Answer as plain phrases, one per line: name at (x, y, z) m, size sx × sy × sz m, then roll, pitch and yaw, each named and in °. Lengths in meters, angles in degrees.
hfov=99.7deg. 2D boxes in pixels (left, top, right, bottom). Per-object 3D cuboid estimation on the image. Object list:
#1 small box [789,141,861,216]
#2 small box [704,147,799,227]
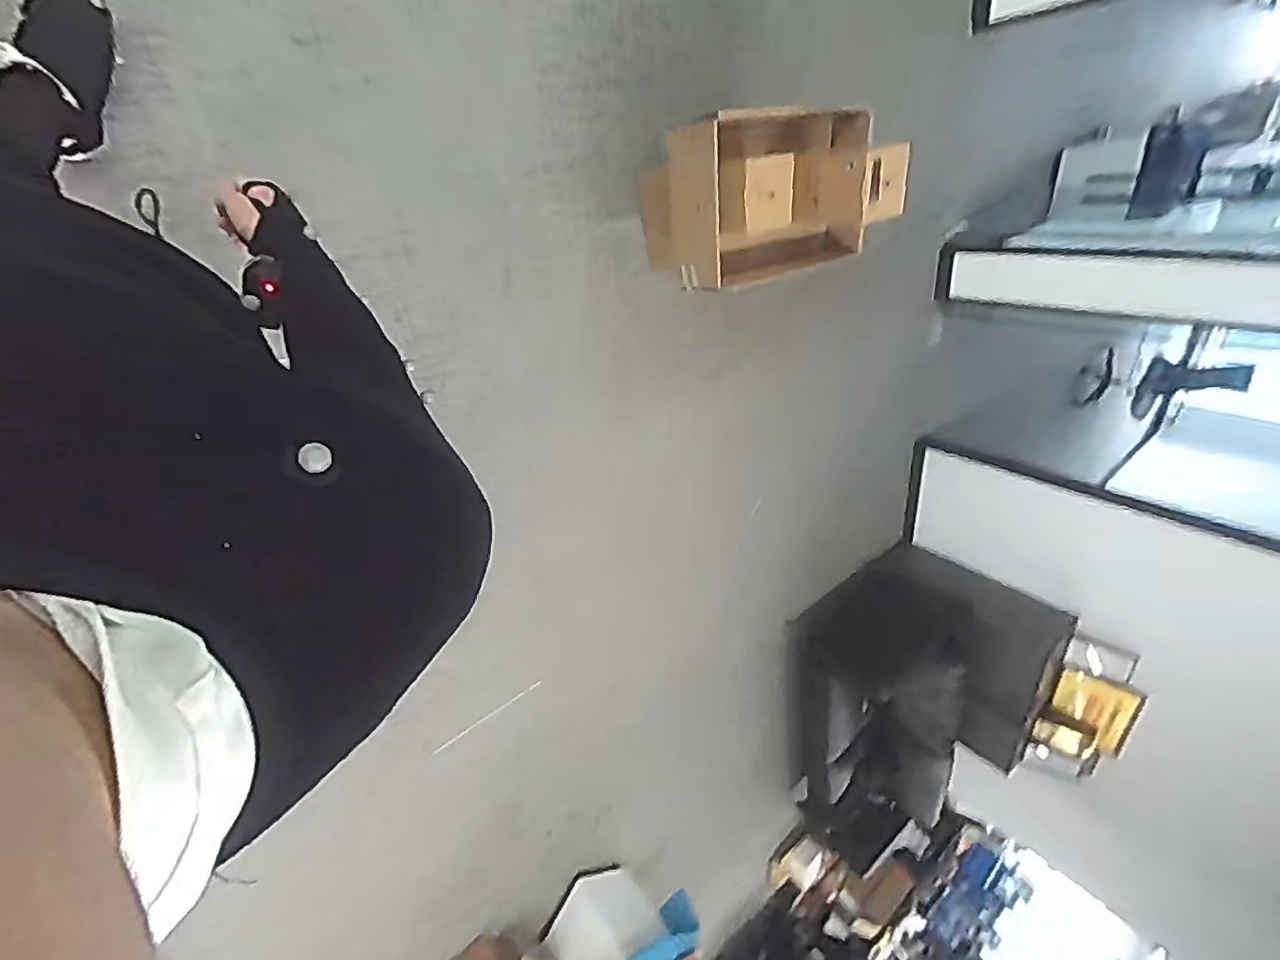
small box at (0.486, -0.845, 1.515) m, size 0.179 × 0.176 × 0.168 m, roll -24°, pitch 125°, yaw -26°
small box at (0.284, -0.753, 1.391) m, size 0.179 × 0.176 × 0.168 m, roll -24°, pitch 124°, yaw -29°
